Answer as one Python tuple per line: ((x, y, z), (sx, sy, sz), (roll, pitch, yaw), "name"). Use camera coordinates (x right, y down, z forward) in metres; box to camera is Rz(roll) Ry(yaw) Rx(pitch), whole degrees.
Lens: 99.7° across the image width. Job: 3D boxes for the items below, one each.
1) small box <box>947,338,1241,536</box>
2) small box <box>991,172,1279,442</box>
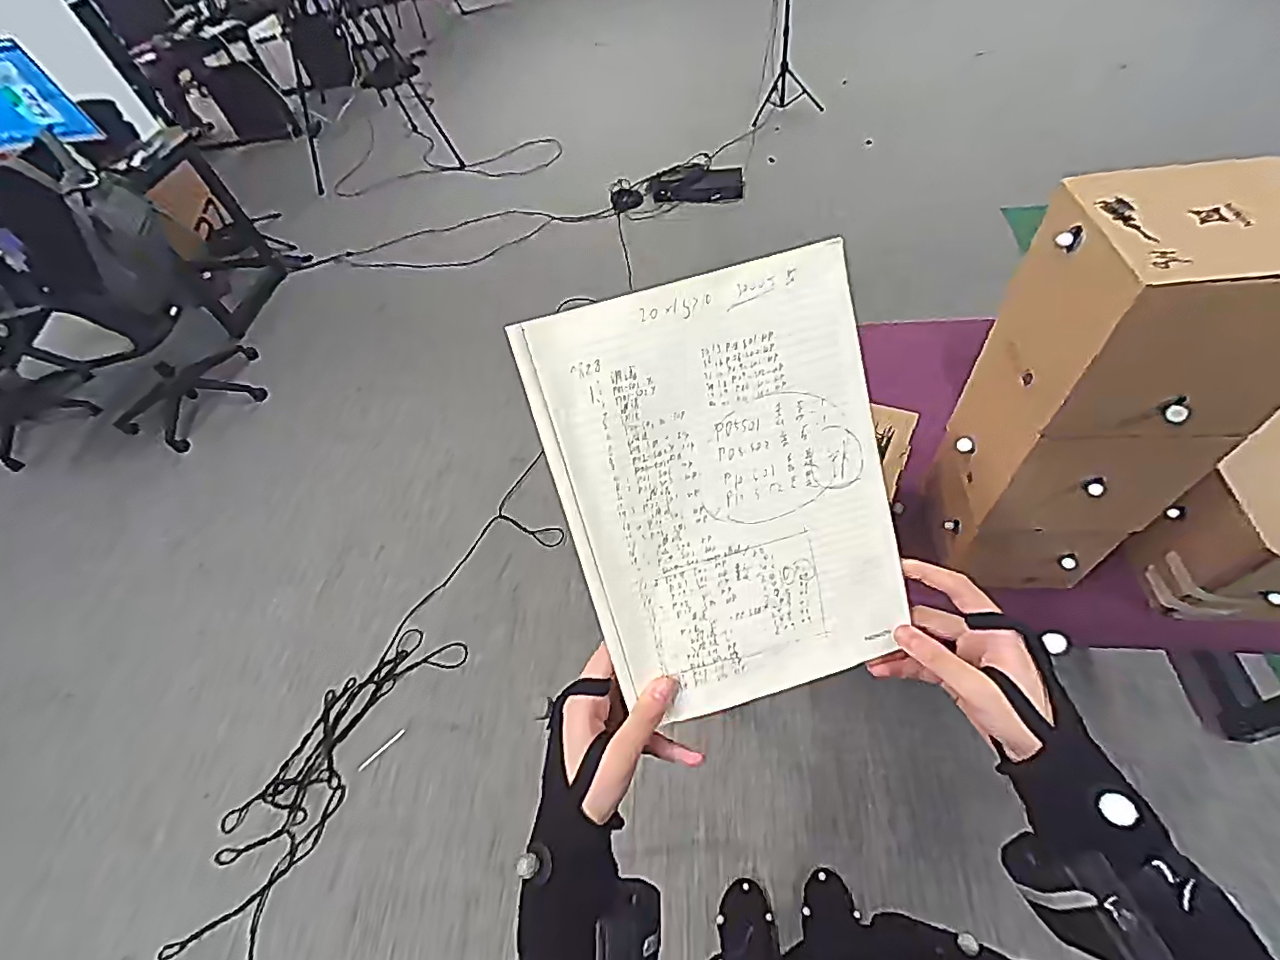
((0.482, -0.048, 0.614), (0.179, 0.176, 0.168), (0, 52, 10), "small box")
((0.460, -0.147, 0.486), (0.179, 0.176, 0.168), (0, 52, 9), "small box")
